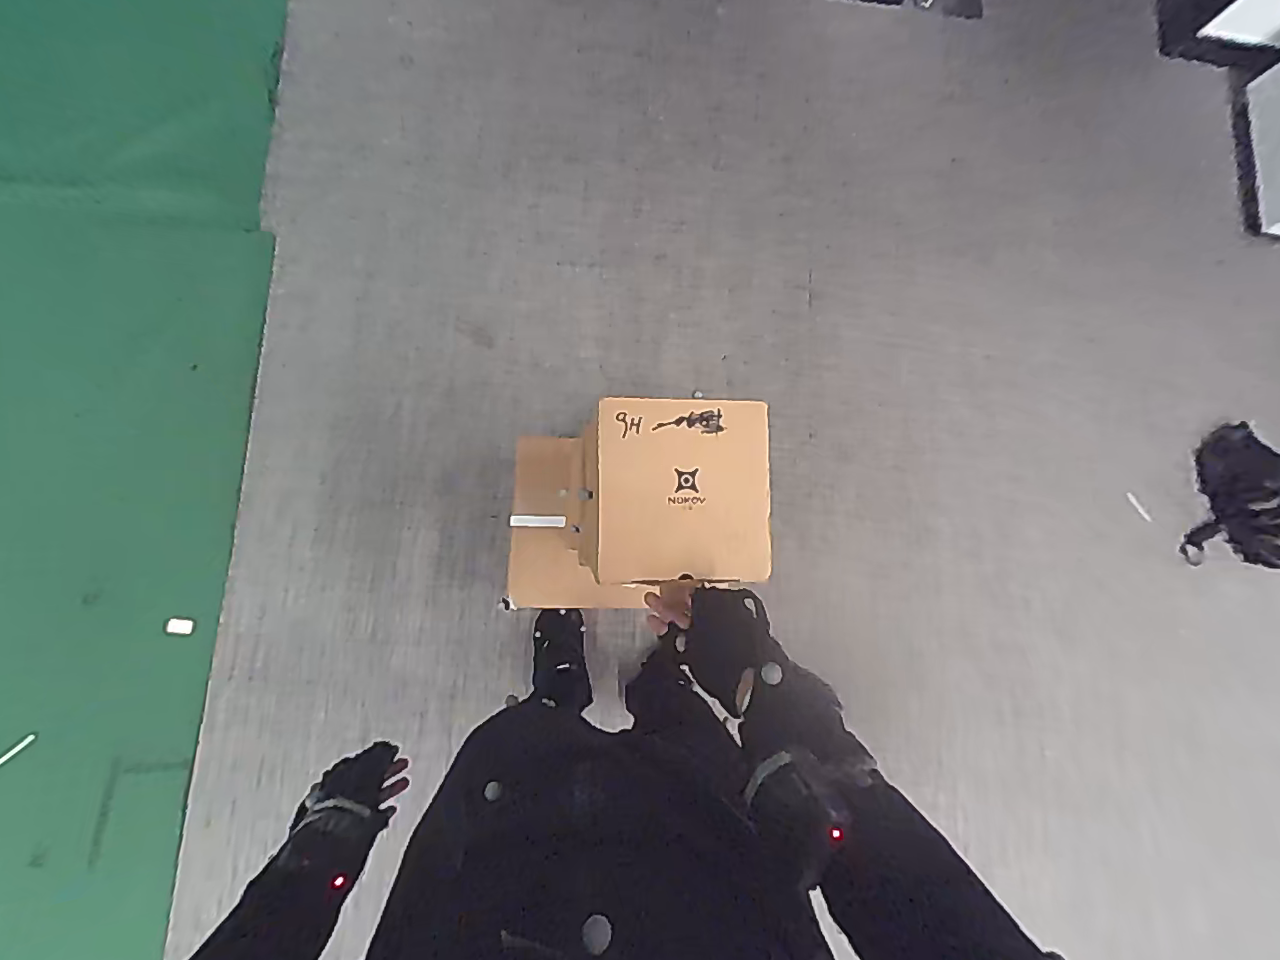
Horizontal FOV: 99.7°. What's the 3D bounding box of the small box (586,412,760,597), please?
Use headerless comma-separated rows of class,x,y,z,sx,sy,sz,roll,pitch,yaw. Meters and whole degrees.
small box,0.026,0.026,0.595,0.168,0.176,0.179,0,87,-7

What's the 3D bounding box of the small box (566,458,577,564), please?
small box,-0.033,0.053,0.915,0.179,0.176,0.168,2,86,-7

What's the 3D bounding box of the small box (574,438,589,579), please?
small box,-0.006,0.040,0.755,0.168,0.176,0.179,-1,85,-8
